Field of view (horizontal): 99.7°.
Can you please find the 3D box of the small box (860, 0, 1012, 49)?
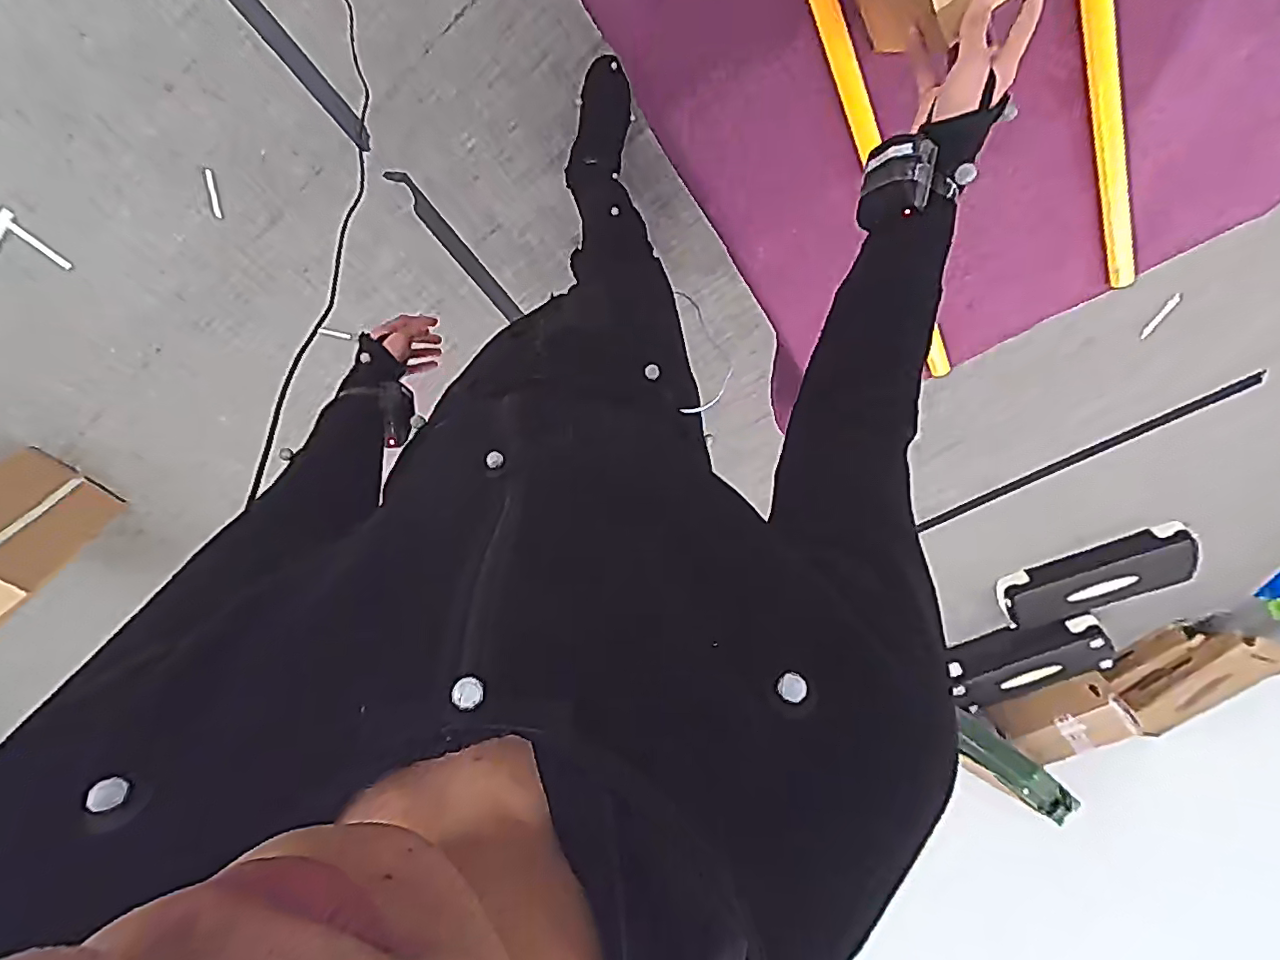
[{"bbox_3d":[0.265,-0.501,0.438,0.168,0.176,0.179,-32,123,22],"label":"small box"}]
